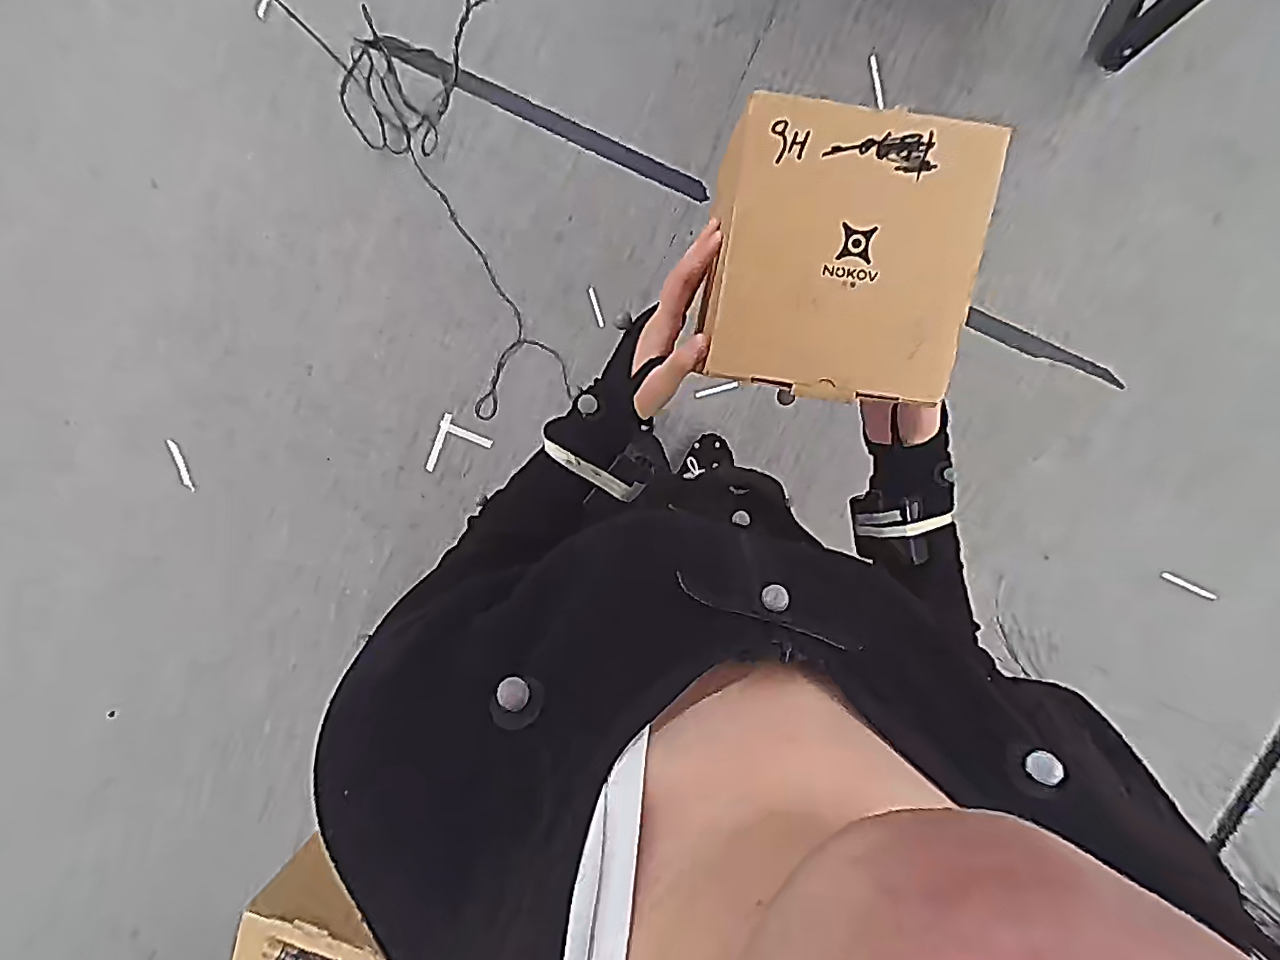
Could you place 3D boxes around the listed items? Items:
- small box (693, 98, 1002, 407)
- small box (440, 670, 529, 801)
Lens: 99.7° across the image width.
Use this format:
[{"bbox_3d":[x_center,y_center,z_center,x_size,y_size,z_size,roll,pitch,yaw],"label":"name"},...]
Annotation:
[{"bbox_3d":[0.139,-0.165,0.437,0.168,0.176,0.179,7,103,-2],"label":"small box"},{"bbox_3d":[-0.364,0.559,1.203,0.168,0.176,0.179,22,95,1],"label":"small box"}]
